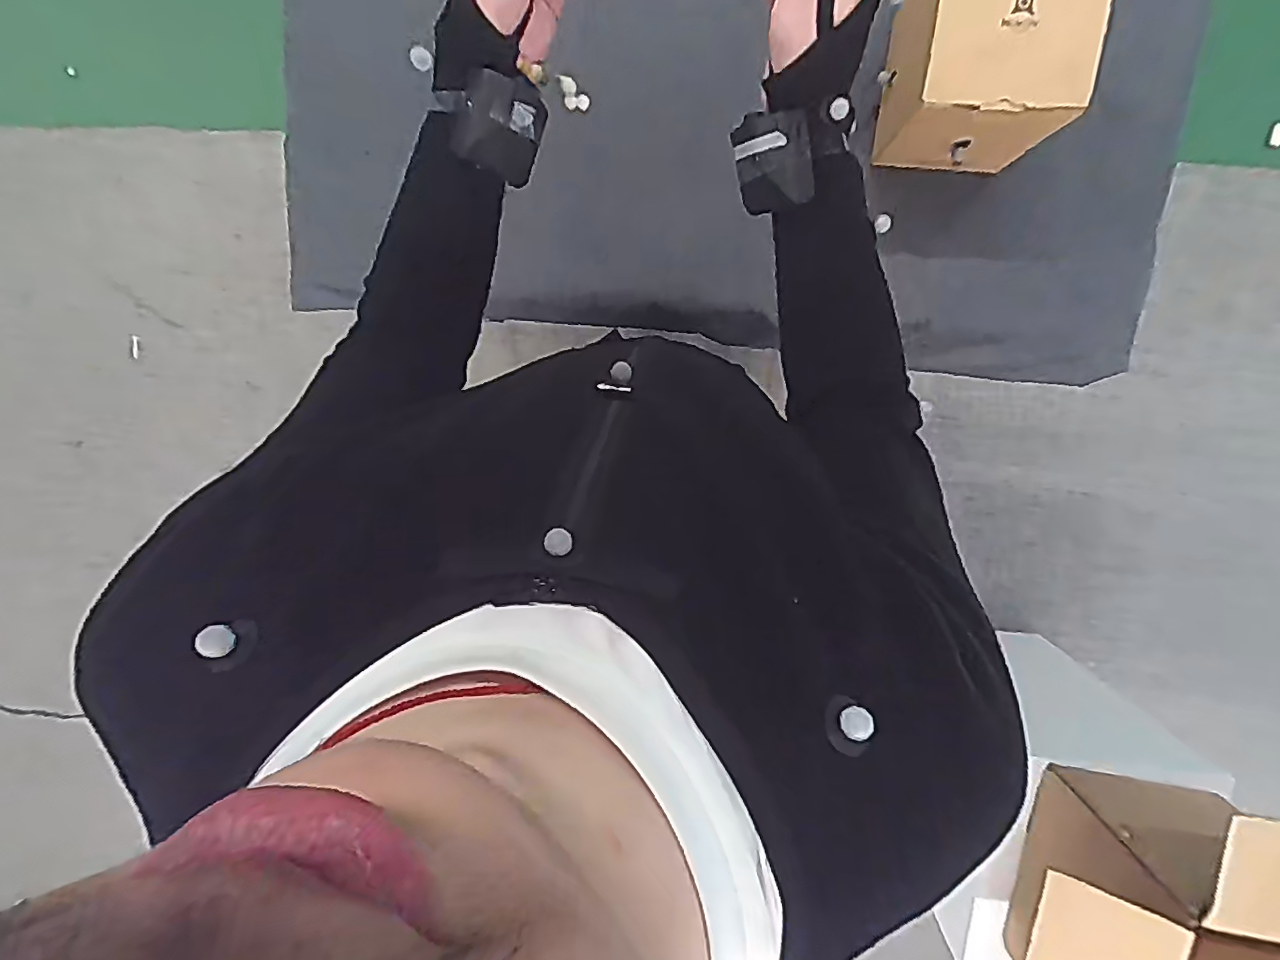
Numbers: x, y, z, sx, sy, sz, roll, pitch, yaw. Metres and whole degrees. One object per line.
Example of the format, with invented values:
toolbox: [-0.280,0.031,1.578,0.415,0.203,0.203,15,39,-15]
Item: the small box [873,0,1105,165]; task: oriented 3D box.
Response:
small box: [0.387,-0.487,0.624,0.168,0.176,0.179,6,103,4]
